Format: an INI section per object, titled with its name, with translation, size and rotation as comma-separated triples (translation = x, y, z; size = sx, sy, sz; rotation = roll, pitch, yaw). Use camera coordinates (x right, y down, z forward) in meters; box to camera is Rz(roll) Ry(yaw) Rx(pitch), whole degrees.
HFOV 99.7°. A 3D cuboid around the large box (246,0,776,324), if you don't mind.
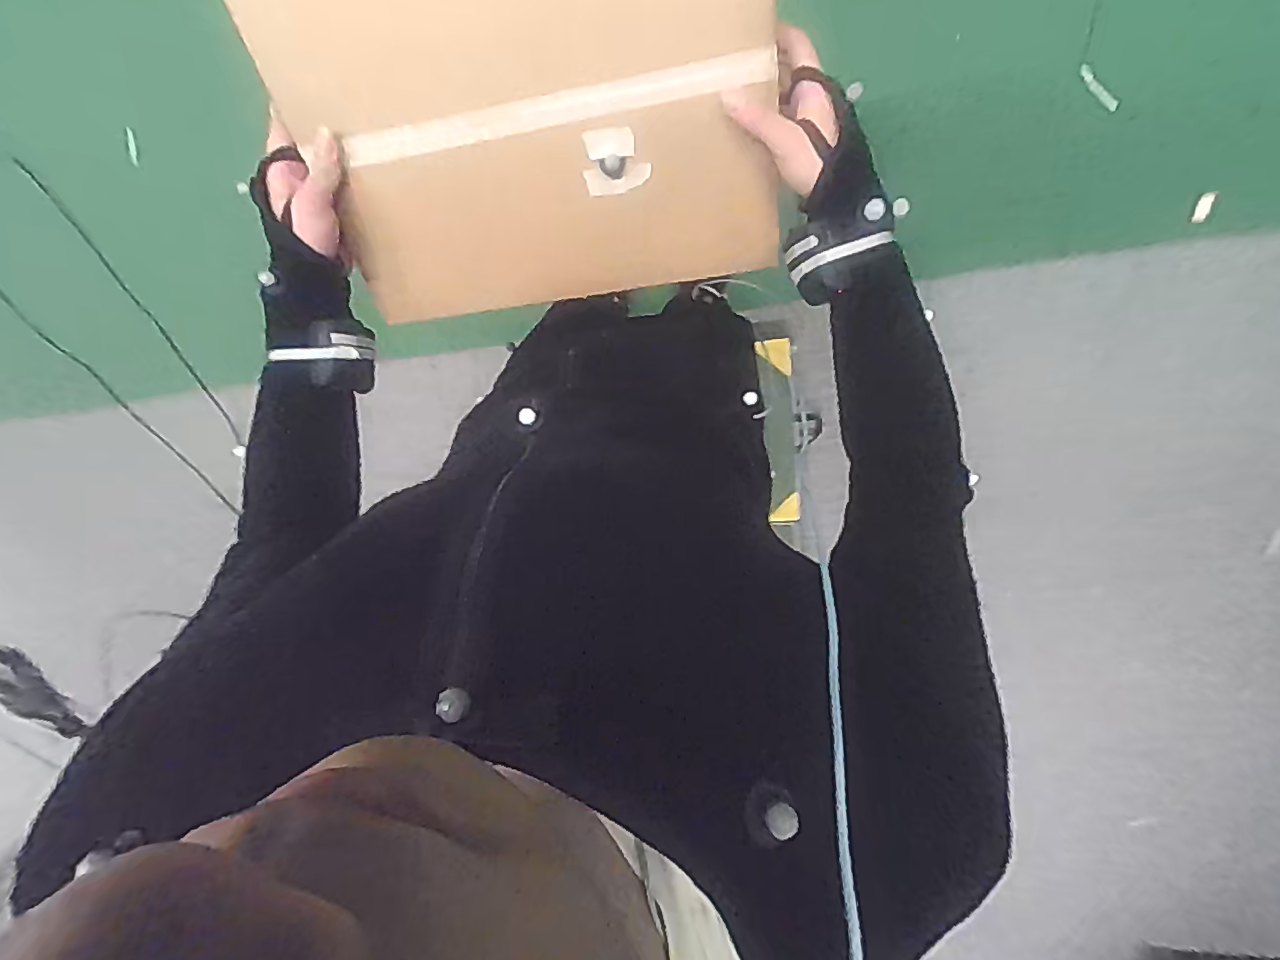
[large box]
translation = -0.085, -0.400, 0.574
size = 0.408, 0.320, 0.320
rotation = -6, 130, 8
